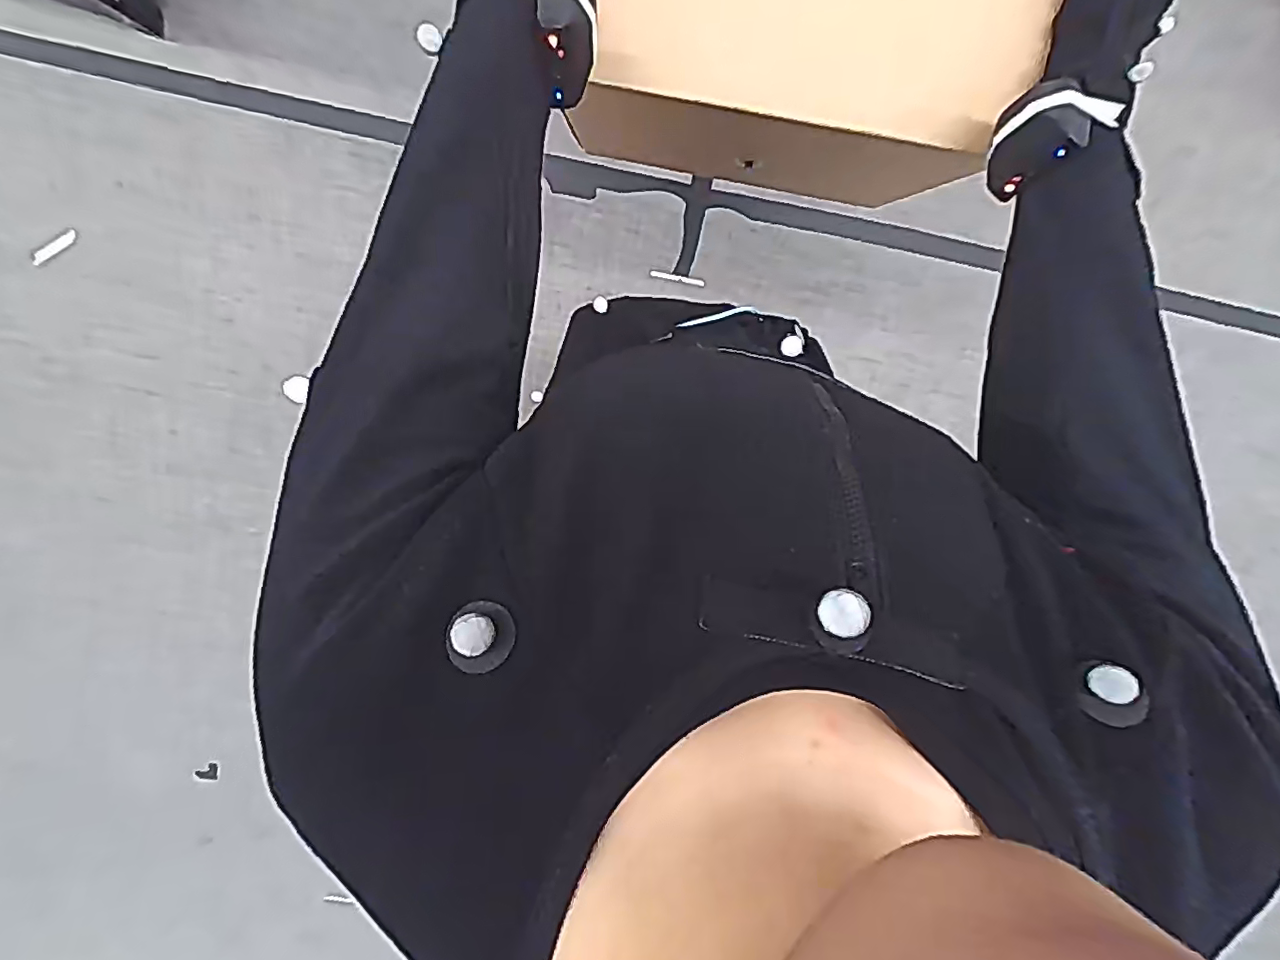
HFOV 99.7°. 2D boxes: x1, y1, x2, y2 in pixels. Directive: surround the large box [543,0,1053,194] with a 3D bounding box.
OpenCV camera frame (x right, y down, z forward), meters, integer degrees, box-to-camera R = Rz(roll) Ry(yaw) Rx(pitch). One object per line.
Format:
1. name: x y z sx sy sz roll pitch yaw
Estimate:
1. large box: 0.144 -0.505 0.541 0.408 0.320 0.320 10 109 -2
